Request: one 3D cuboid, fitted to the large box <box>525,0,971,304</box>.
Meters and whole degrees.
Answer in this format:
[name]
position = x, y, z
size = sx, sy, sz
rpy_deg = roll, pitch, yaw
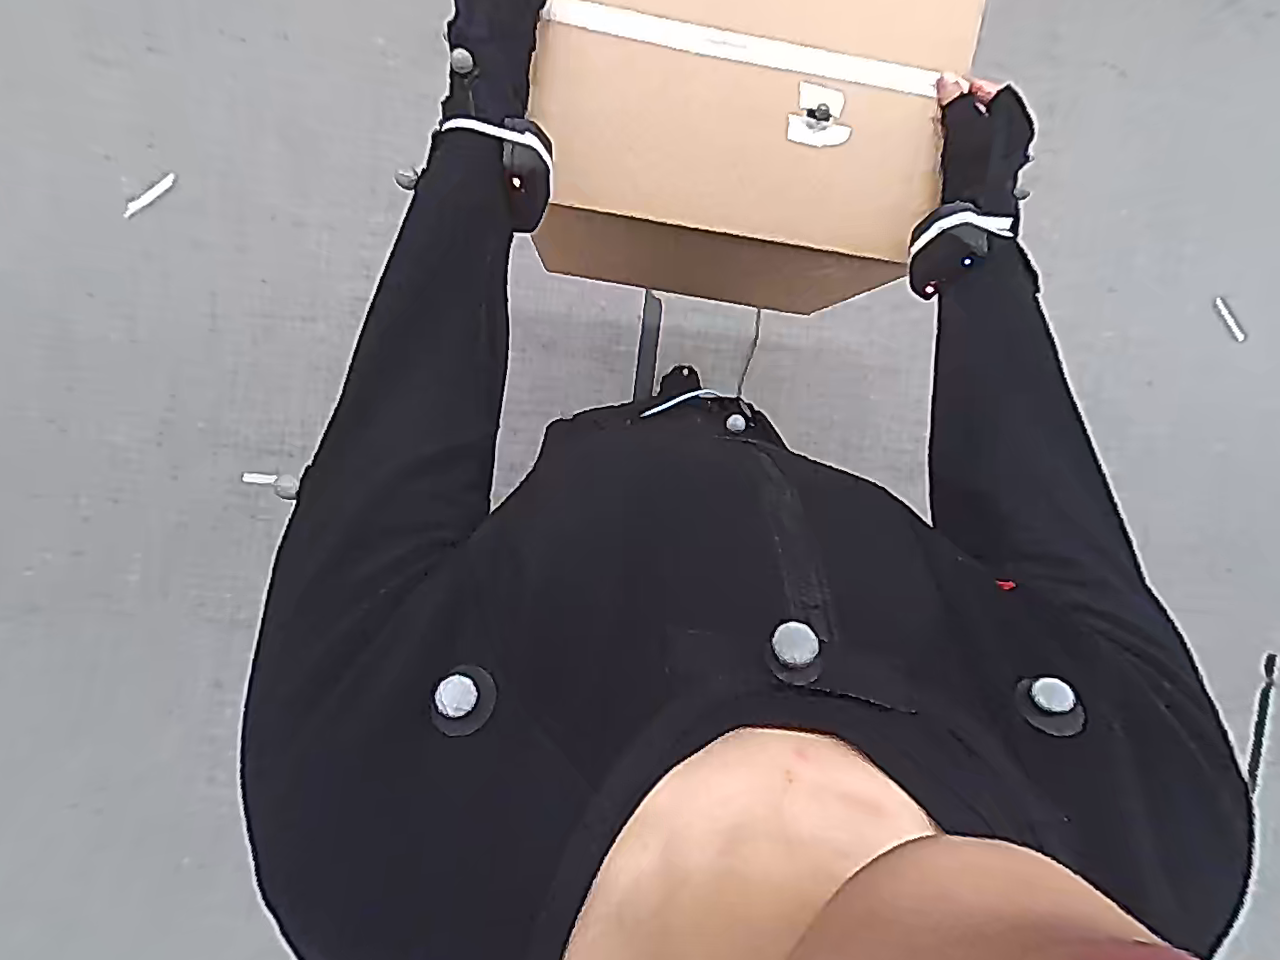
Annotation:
[large box]
position = 0.091, -0.418, 0.646
size = 0.408, 0.320, 0.320
rpy_deg = 7, 99, -6
